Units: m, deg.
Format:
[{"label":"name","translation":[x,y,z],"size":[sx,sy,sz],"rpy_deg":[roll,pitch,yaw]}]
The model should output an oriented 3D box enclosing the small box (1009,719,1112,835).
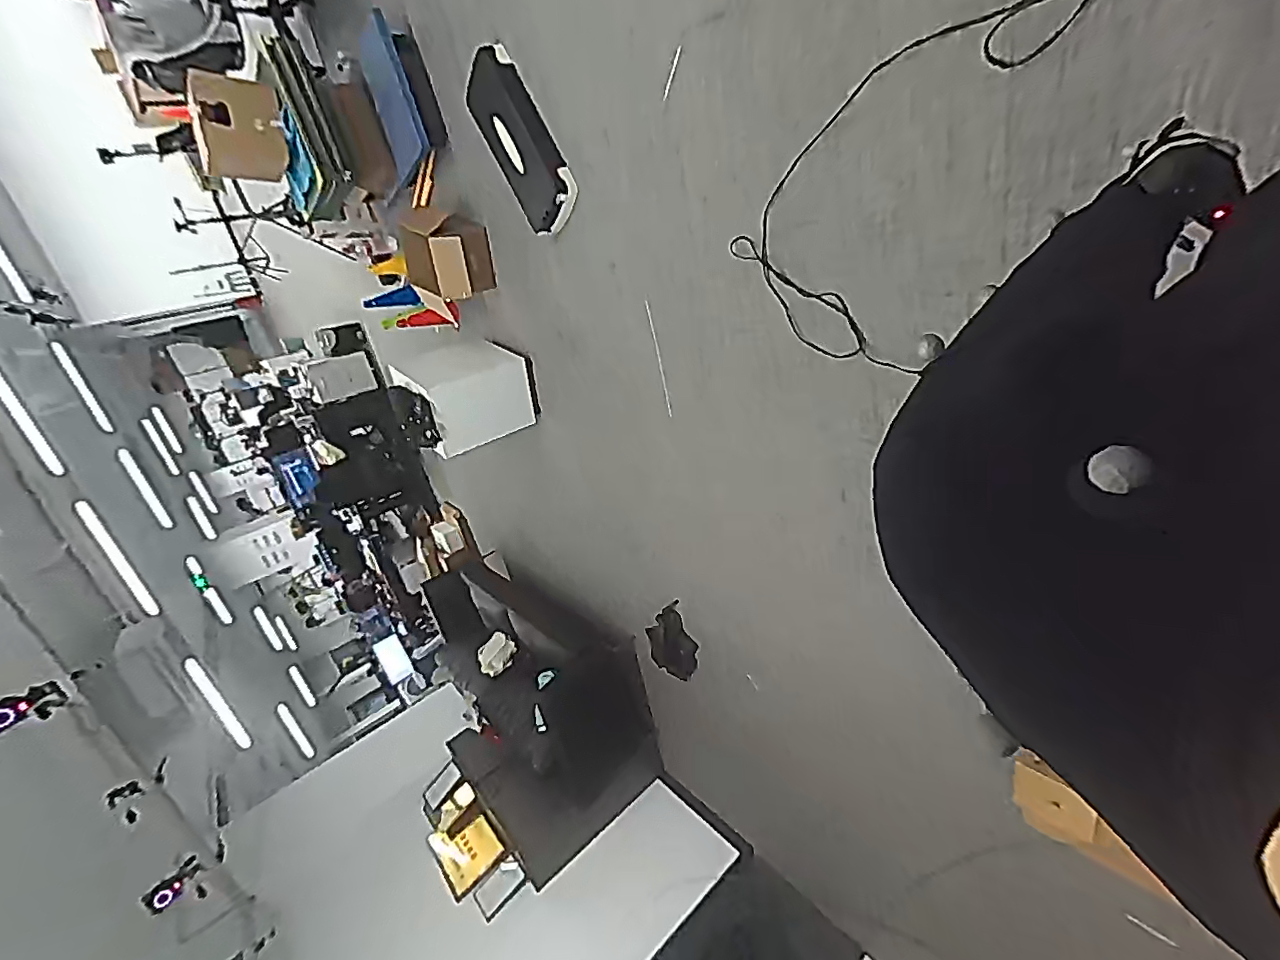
[{"label":"small box","translation":[1.113,0.774,1.432],"size":[0.179,0.176,0.168],"rpy_deg":[16,127,50]}]
